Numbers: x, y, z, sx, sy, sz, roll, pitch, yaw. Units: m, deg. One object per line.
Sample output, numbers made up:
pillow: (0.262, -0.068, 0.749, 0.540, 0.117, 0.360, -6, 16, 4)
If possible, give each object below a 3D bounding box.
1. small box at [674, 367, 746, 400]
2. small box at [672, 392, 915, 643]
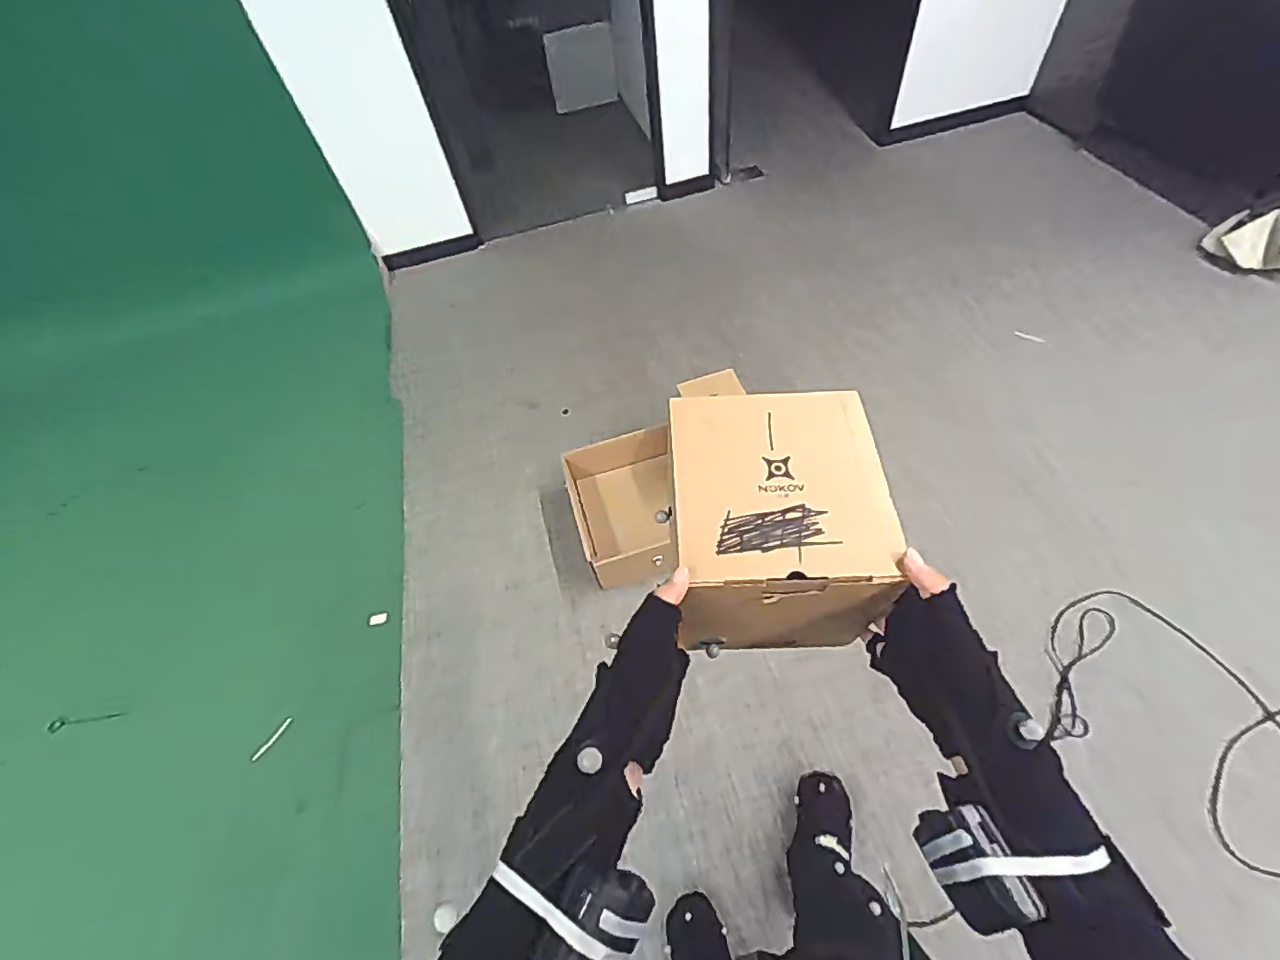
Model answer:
small box: (0.204, -0.173, 1.489, 0.168, 0.176, 0.179, -17, 55, -4)
small box: (0.115, 0.043, 0.490, 0.168, 0.176, 0.179, -2, 56, 1)
